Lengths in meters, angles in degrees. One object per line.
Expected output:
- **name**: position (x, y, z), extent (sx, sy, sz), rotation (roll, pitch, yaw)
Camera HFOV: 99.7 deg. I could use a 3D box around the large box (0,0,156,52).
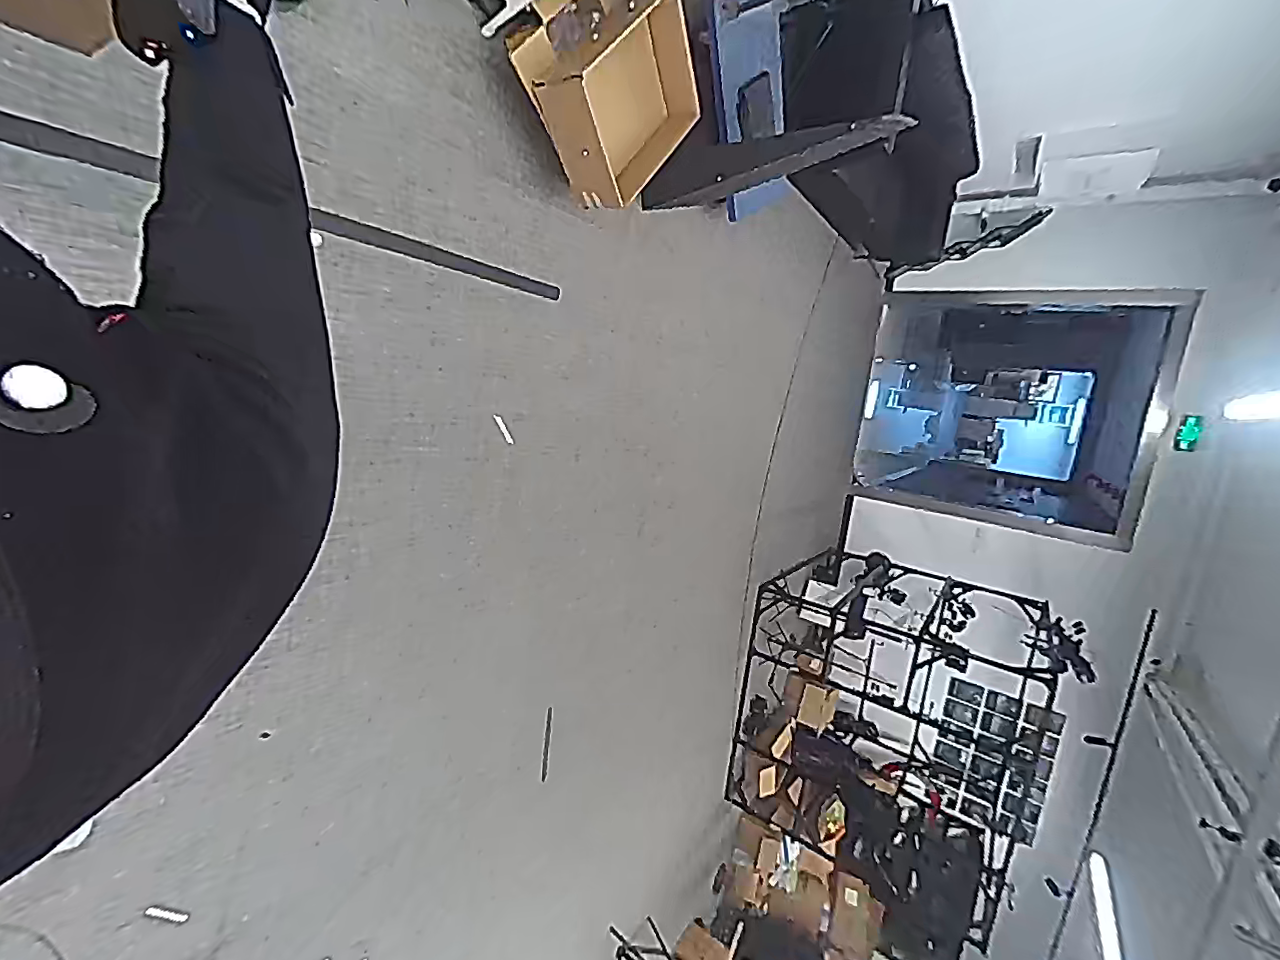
- **large box**: position (-0.555, -0.525, 0.290), extent (0.408, 0.320, 0.320), rotation (-7, 114, -52)
